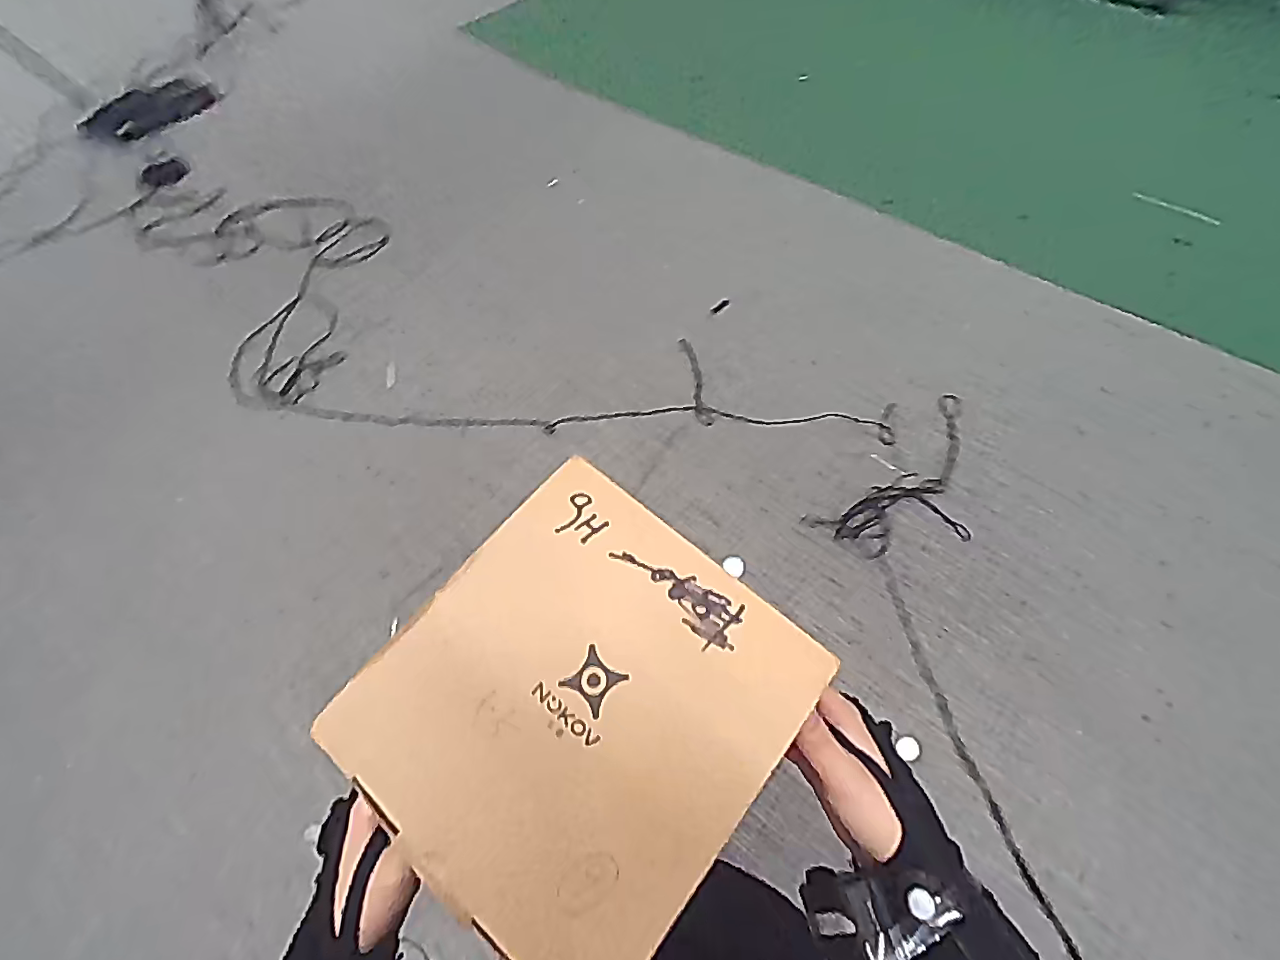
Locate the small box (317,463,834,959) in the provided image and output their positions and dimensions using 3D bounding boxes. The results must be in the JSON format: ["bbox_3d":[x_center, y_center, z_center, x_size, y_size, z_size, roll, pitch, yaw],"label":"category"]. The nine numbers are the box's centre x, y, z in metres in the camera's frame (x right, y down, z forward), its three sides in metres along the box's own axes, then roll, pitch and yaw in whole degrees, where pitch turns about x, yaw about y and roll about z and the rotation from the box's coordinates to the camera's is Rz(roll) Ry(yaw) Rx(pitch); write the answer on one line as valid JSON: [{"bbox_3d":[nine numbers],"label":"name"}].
[{"bbox_3d":[-0.025,0.129,0.312,0.168,0.176,0.179,39,74,15],"label":"small box"}]
